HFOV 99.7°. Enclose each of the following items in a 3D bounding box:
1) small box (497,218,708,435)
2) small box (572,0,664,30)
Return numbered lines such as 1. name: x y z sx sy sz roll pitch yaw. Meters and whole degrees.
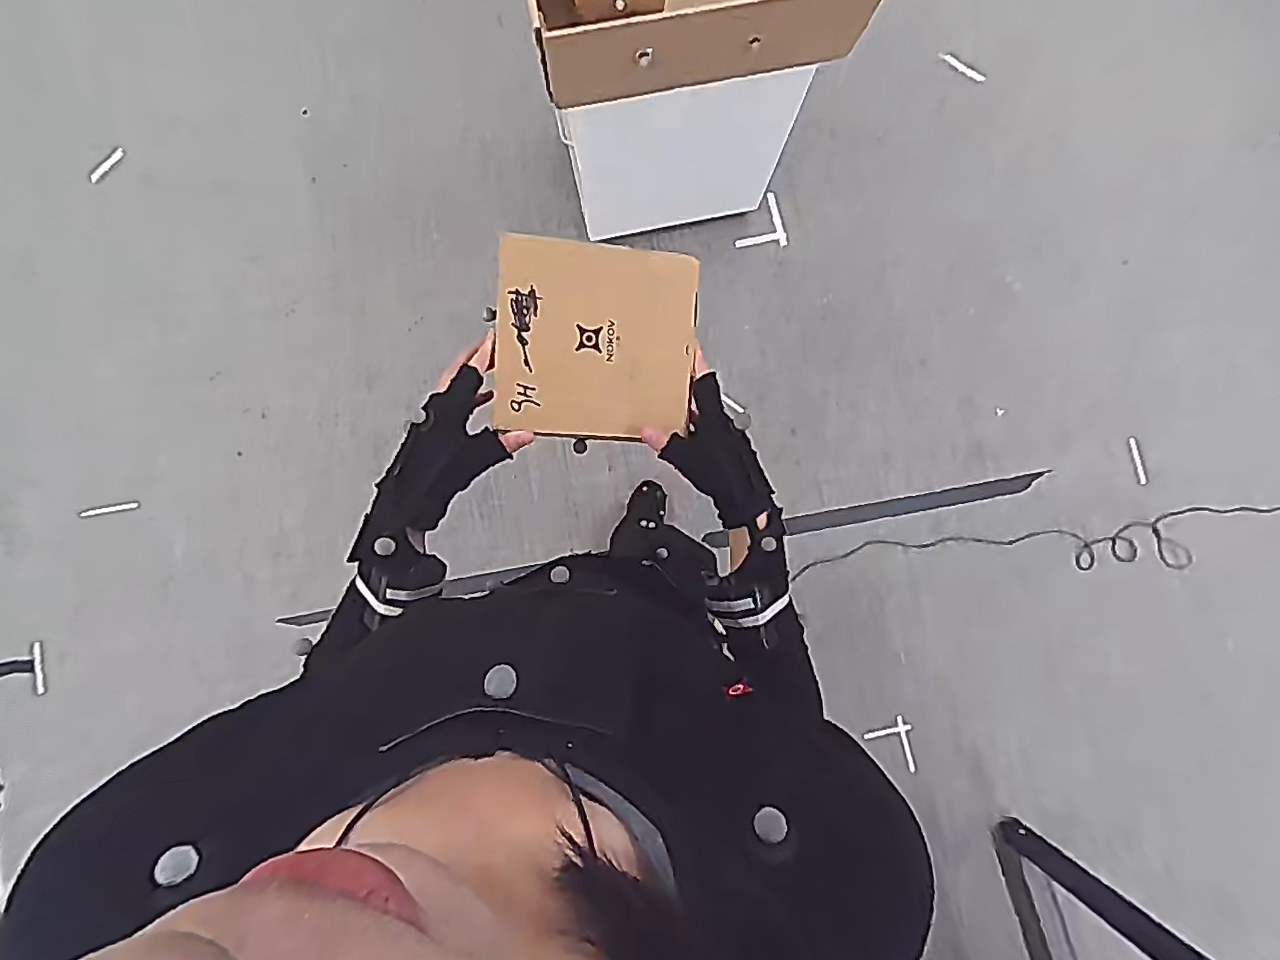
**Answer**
1. small box: -0.047 -0.133 0.540 0.179 0.176 0.168 3 92 -13
2. small box: -0.048 -0.931 0.926 0.168 0.176 0.179 -12 91 -3
